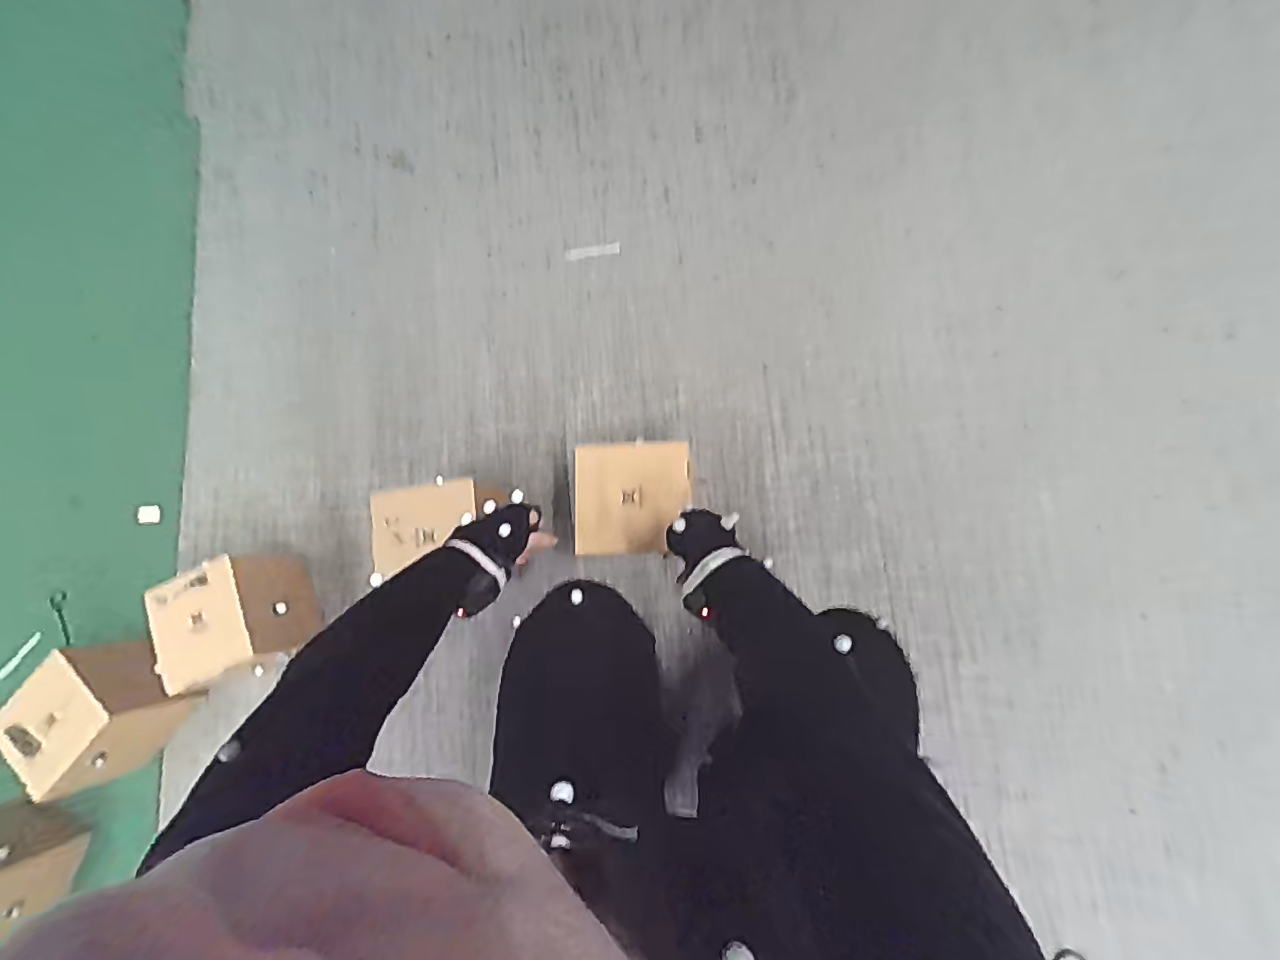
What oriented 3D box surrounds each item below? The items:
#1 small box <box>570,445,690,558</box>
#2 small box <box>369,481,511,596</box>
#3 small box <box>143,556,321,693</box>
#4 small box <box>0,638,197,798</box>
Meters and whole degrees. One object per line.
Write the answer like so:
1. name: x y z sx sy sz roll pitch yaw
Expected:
1. small box: -0.009 0.042 0.888 0.179 0.176 0.168 -2 81 6
2. small box: -0.328 0.102 0.918 0.179 0.176 0.168 -8 79 6
3. small box: -0.700 0.241 0.946 0.168 0.176 0.179 -24 79 3
4. small box: -0.952 0.404 0.954 0.168 0.176 0.179 40 87 12
